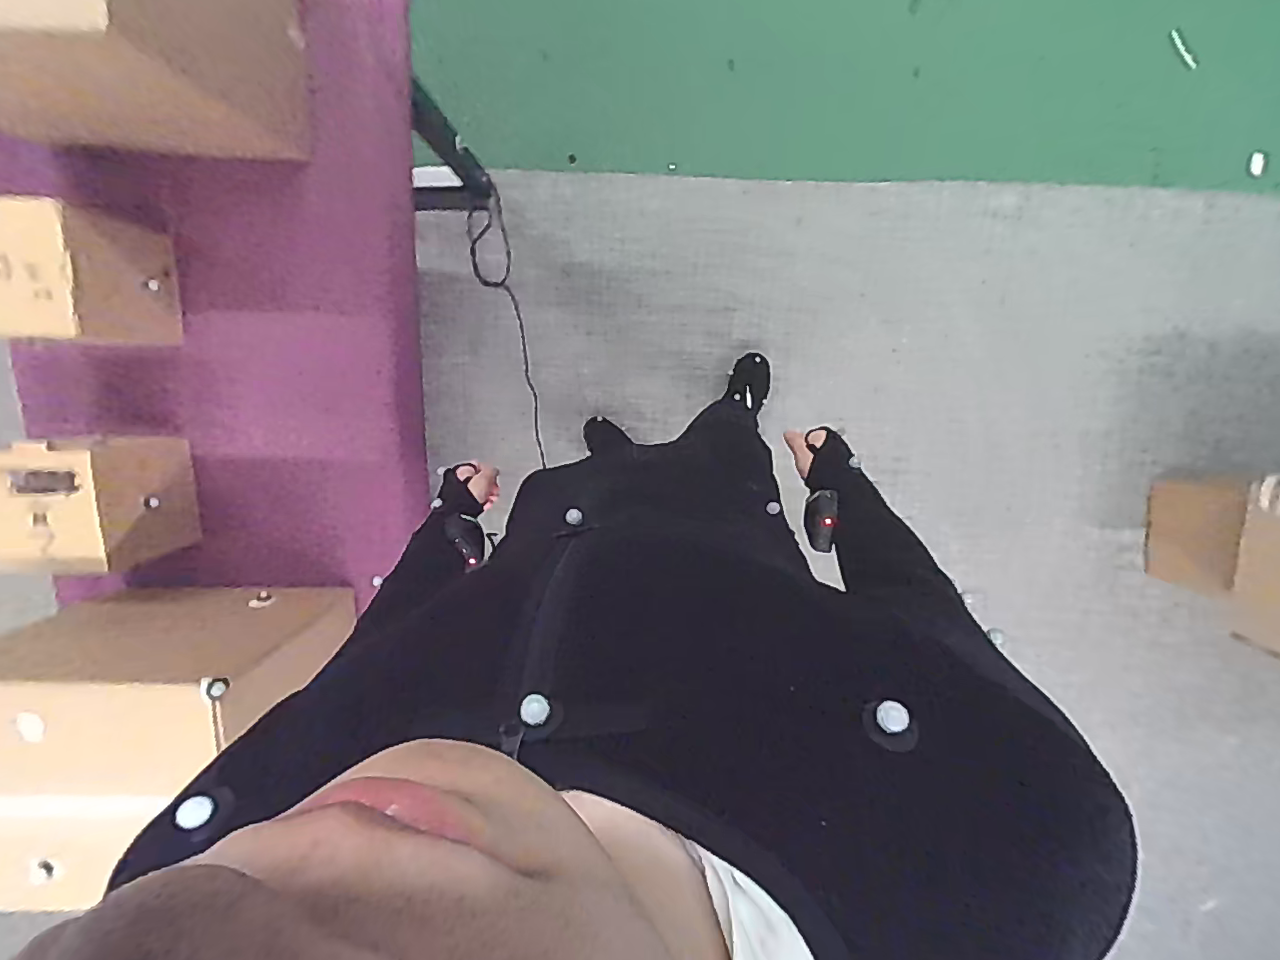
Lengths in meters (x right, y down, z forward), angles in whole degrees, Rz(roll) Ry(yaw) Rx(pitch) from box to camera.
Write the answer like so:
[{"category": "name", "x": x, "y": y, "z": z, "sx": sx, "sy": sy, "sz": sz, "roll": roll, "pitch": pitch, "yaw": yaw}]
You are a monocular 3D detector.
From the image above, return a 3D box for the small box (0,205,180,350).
[{"category": "small box", "x": -0.804, "y": -0.271, "z": 0.755, "sx": 0.179, "sy": 0.176, "sz": 0.168, "roll": 1, "pitch": 100, "yaw": -1}]
